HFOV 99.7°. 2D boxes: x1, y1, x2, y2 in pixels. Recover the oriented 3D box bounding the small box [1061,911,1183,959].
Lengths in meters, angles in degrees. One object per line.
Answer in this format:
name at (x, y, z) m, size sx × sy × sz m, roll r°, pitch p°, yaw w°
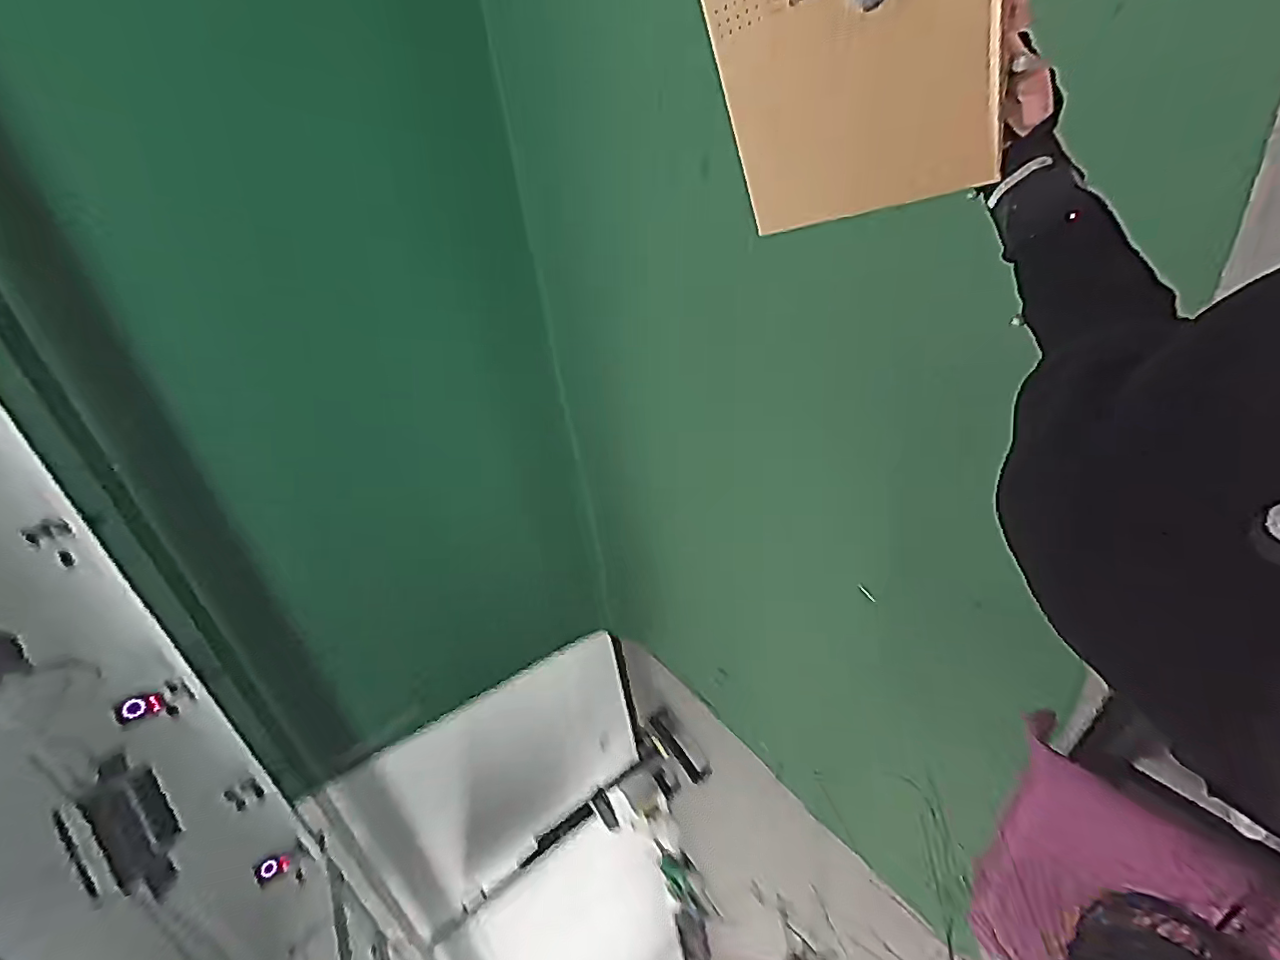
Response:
small box at (0.784, 0.844, 0.847) m, size 0.179 × 0.176 × 0.168 m, roll 0°, pitch 112°, yaw 61°
